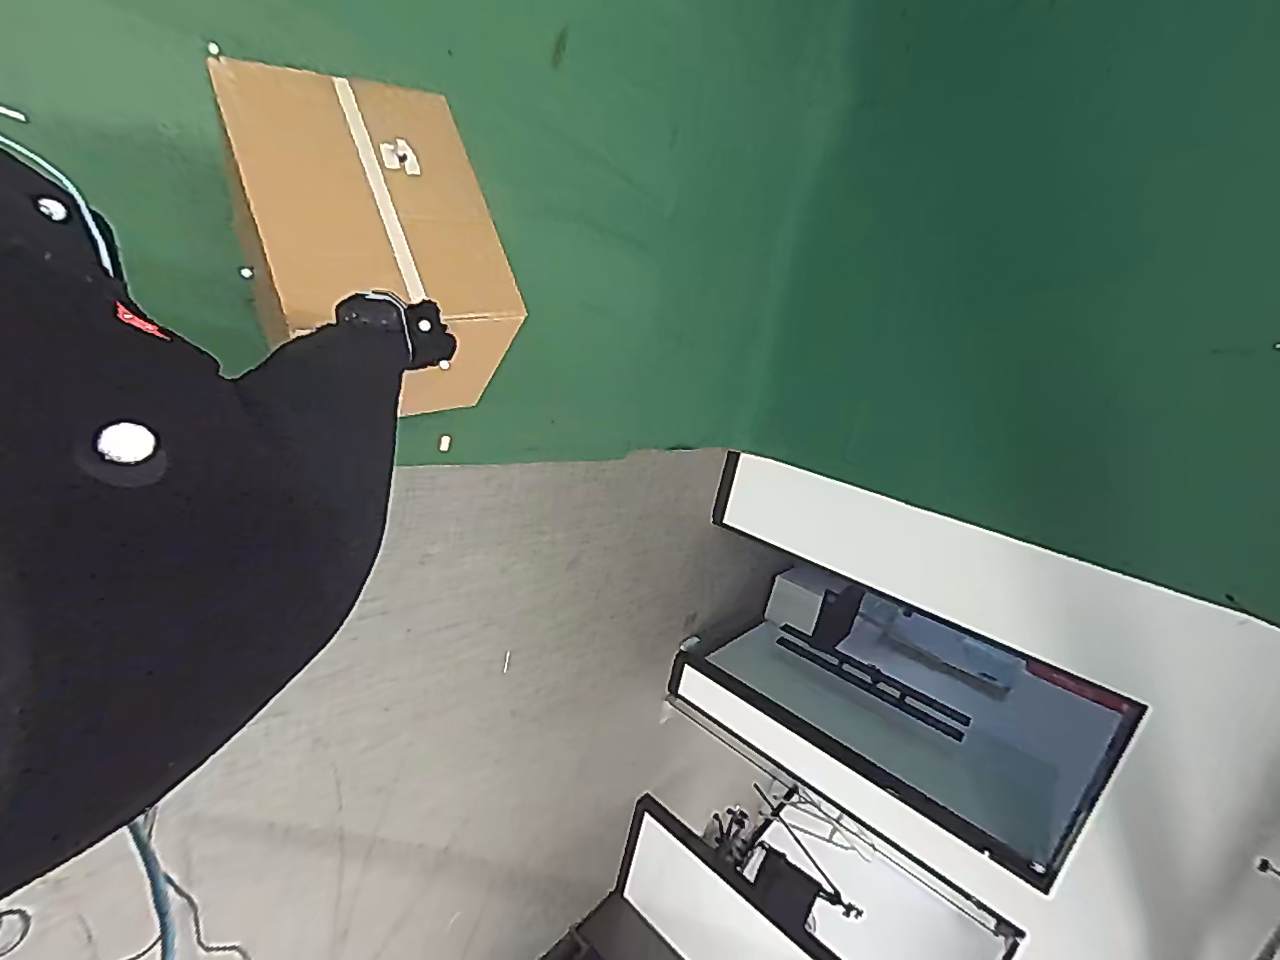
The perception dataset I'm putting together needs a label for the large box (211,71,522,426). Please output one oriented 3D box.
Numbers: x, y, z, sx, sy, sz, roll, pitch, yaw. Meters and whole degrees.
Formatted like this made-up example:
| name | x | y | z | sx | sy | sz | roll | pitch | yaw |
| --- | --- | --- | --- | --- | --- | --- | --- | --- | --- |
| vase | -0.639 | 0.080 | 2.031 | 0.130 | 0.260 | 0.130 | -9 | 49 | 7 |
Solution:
| name | x | y | z | sx | sy | sz | roll | pitch | yaw |
| --- | --- | --- | --- | --- | --- | --- | --- | --- | --- |
| large box | -0.443 | -0.350 | 0.894 | 0.320 | 0.320 | 0.408 | -16 | 80 | -35 |
